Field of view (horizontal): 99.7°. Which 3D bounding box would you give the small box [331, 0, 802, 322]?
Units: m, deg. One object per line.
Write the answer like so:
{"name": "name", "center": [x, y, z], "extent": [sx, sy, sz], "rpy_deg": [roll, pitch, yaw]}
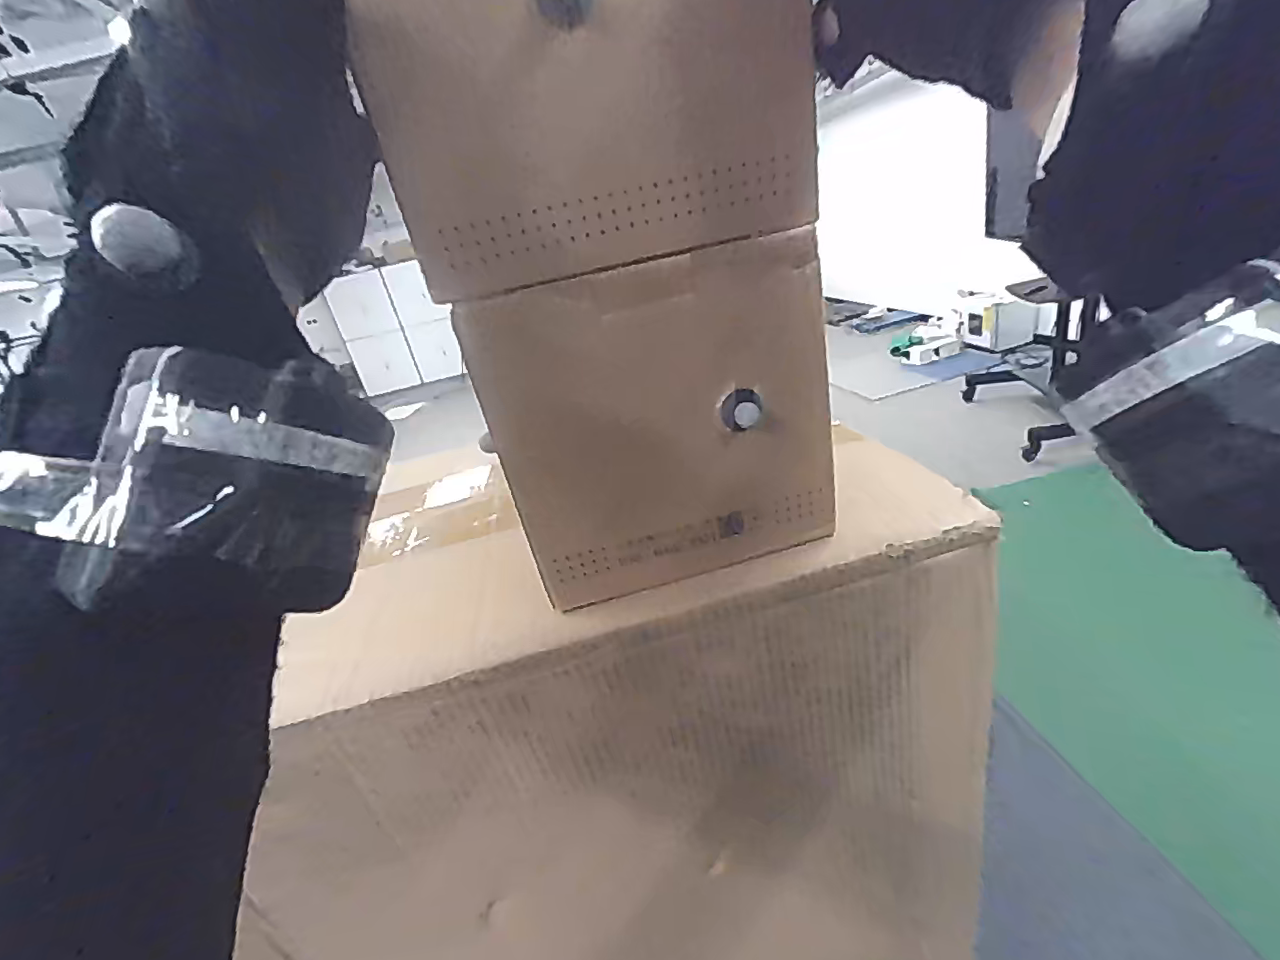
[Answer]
{"name": "small box", "center": [-0.032, -0.189, 0.271], "extent": [0.179, 0.176, 0.168], "rpy_deg": [-14, 27, -8]}

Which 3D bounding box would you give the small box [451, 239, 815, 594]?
{"name": "small box", "center": [-0.001, -0.046, 0.345], "extent": [0.168, 0.176, 0.179], "rpy_deg": [-14, 25, -4]}
